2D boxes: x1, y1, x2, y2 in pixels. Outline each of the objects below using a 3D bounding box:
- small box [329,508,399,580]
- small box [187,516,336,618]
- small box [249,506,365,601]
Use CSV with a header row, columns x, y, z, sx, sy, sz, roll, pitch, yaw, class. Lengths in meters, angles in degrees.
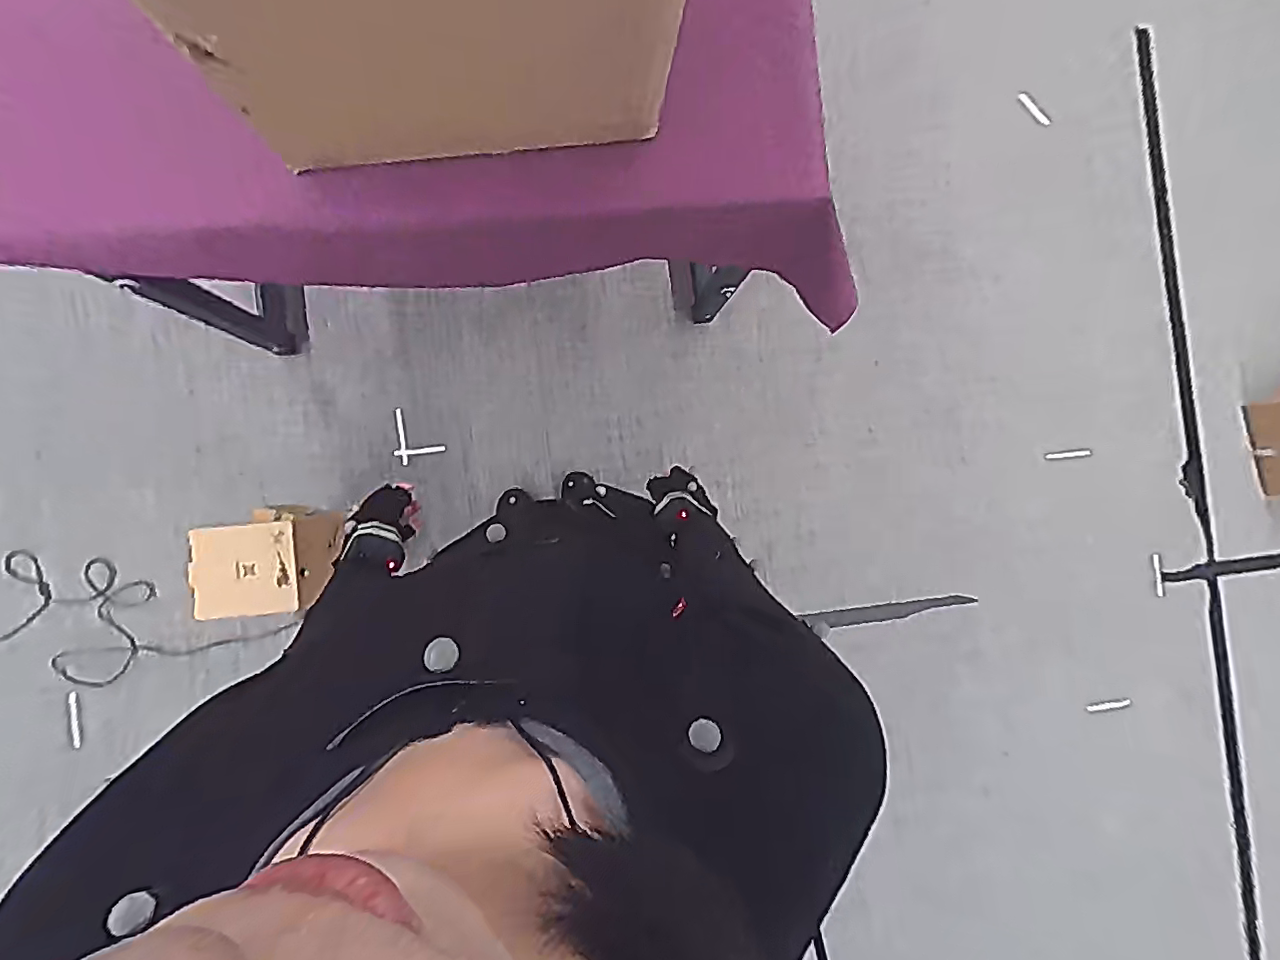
x,y,z,sx,sy,sz,roll,pitch,yaw,class
-0.730,0.161,1.363,0.179,0.176,0.168,-4,90,-7,small box
-0.715,0.159,1.037,0.179,0.176,0.168,-4,89,-7,small box
-0.743,0.154,1.198,0.179,0.176,0.168,15,87,-5,small box
